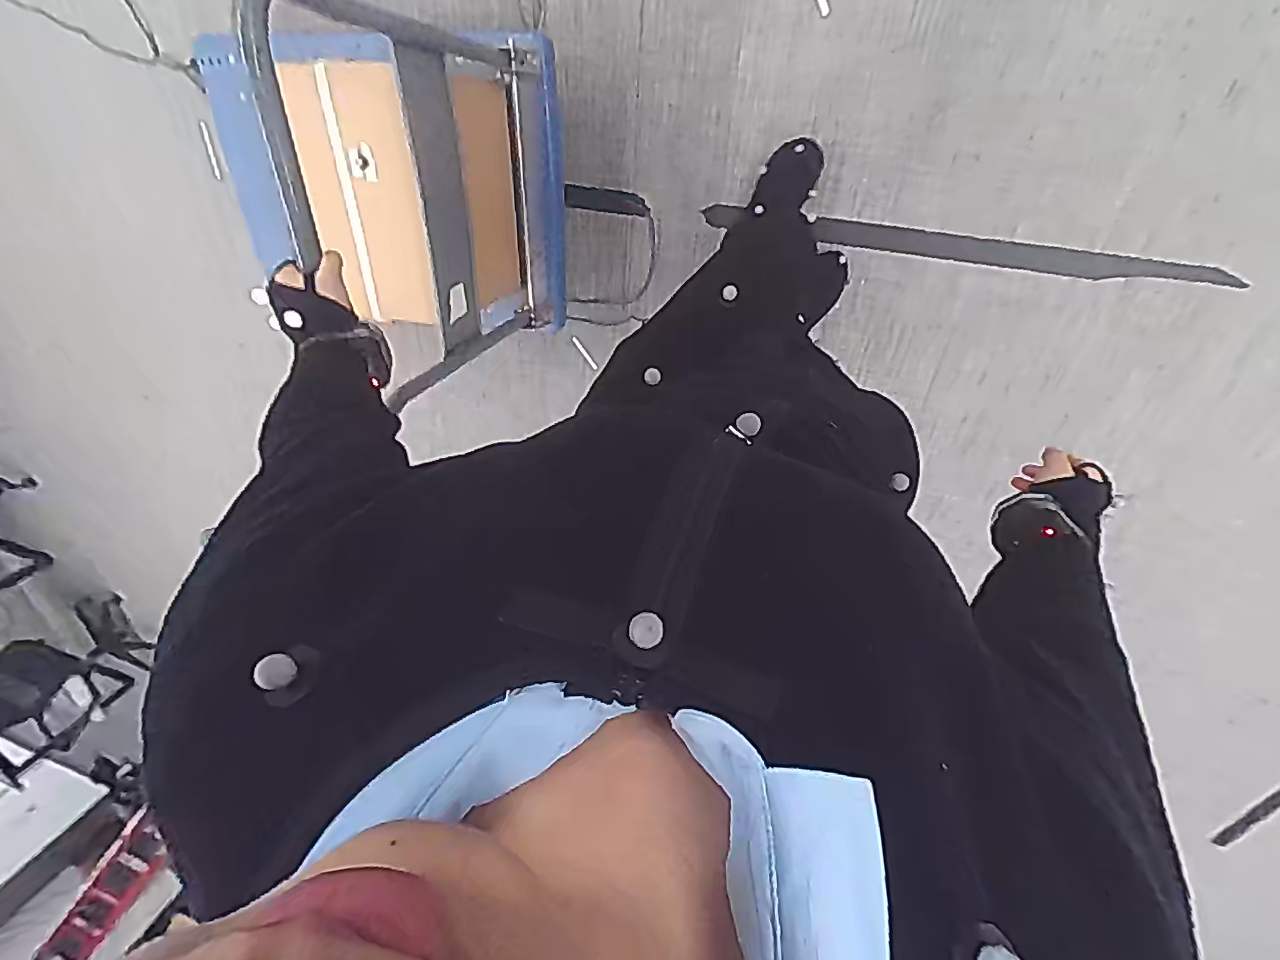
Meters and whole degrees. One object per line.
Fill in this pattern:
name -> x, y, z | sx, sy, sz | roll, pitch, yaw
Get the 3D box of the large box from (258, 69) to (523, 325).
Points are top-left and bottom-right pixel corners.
large box -> -0.459, -0.562, 1.097 | 0.320, 0.320, 0.408 | 10, 122, 13
